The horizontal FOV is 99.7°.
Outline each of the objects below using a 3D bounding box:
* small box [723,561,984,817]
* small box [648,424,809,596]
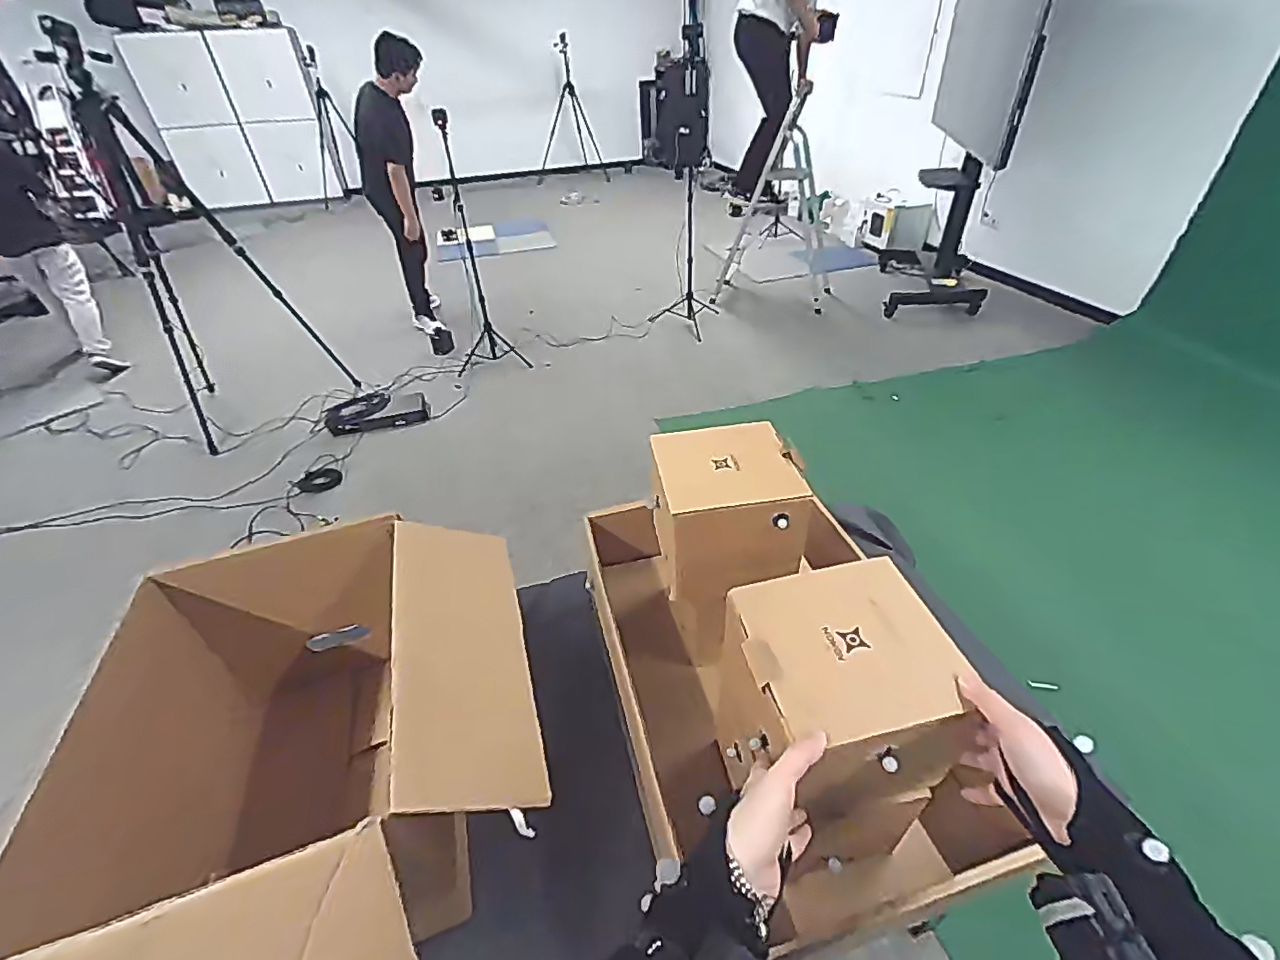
[{"bbox_3d":[0.189,0.210,0.546,0.179,0.176,0.168,-10,42,-9],"label":"small box"},{"bbox_3d":[0.111,0.043,0.750,0.179,0.176,0.168,-7,40,-5],"label":"small box"}]
